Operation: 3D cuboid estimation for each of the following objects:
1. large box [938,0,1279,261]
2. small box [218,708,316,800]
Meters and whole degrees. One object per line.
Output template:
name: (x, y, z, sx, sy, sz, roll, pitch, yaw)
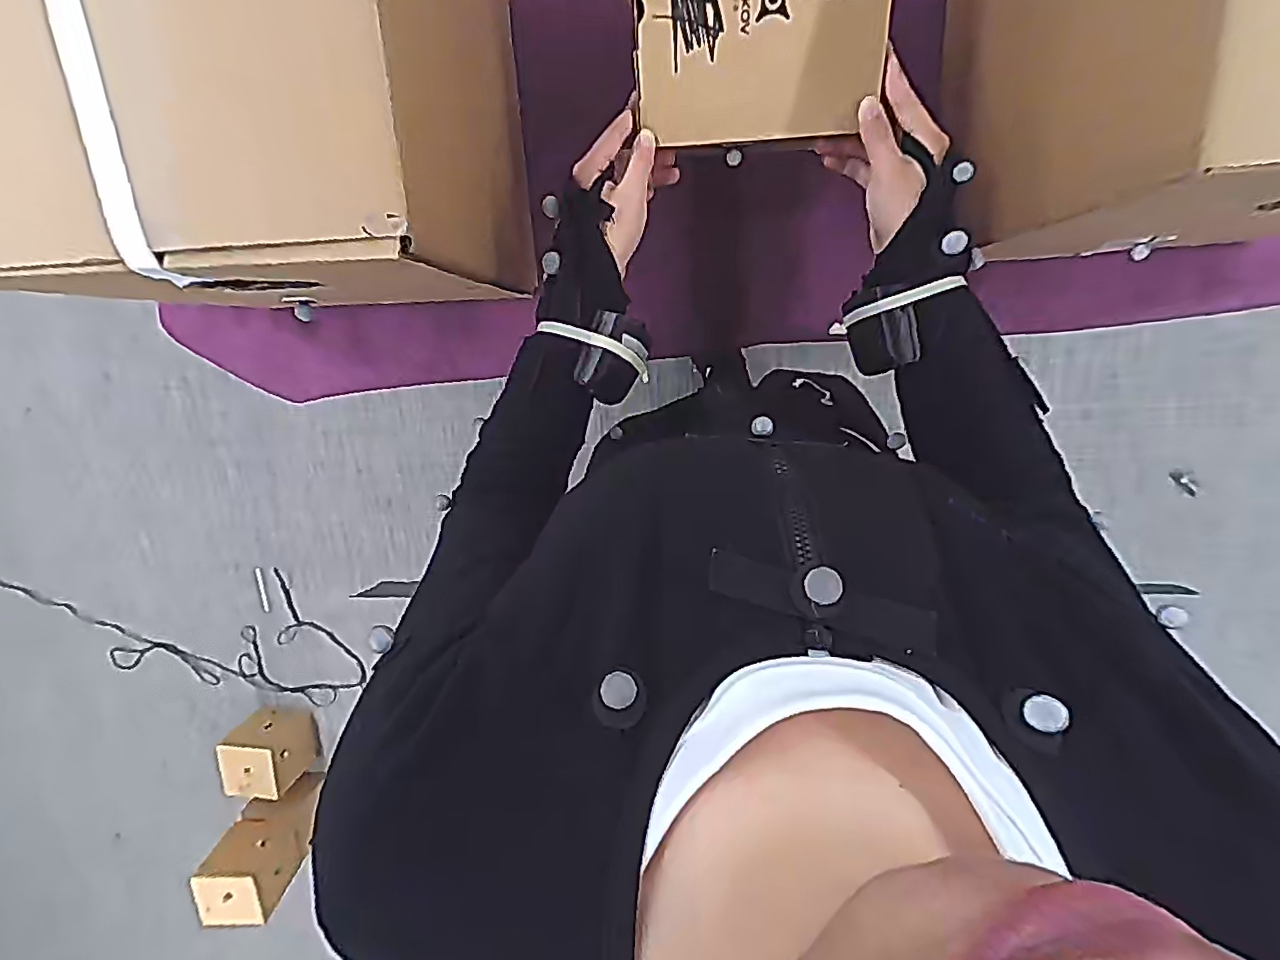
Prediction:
large box: (0.417, -0.386, 0.339, 0.320, 0.320, 0.408, -3, 103, 5)
small box: (-1.099, 0.807, 1.606, 0.168, 0.176, 0.179, 4, 106, 4)
